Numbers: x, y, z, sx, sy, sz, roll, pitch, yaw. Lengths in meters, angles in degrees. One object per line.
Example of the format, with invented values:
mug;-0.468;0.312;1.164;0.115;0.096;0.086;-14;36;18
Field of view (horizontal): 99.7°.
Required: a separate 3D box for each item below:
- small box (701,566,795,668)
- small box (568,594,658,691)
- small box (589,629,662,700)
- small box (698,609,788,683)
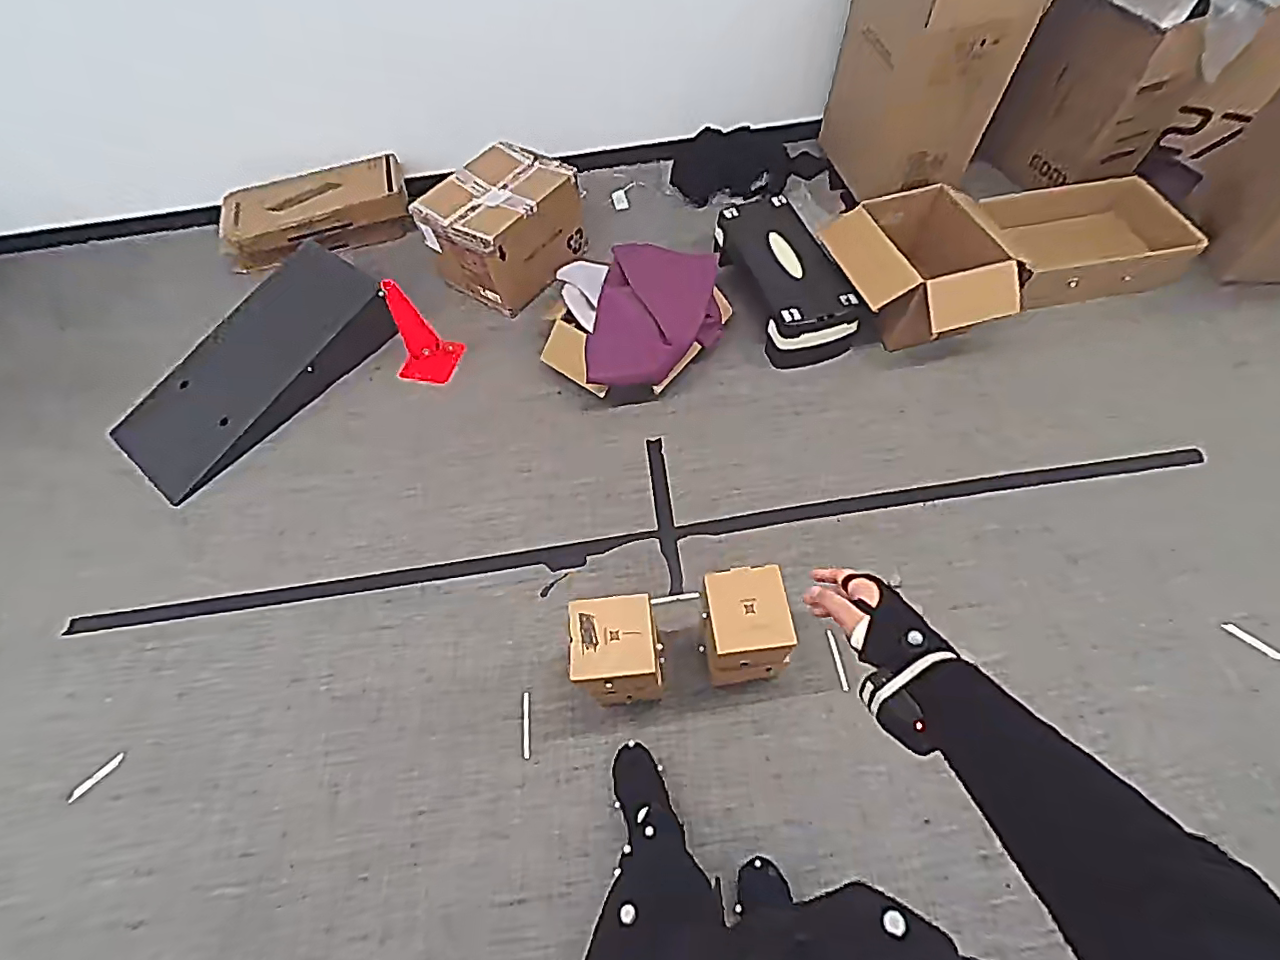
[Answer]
small box;0.232;0.309;1.207;0.168;0.176;0.179;-7;61;0
small box;-0.056;0.363;1.191;0.179;0.176;0.168;-5;59;2
small box;-0.037;0.442;1.337;0.168;0.176;0.179;-6;61;1
small box;0.247;0.398;1.341;0.179;0.176;0.168;-8;60;-1
